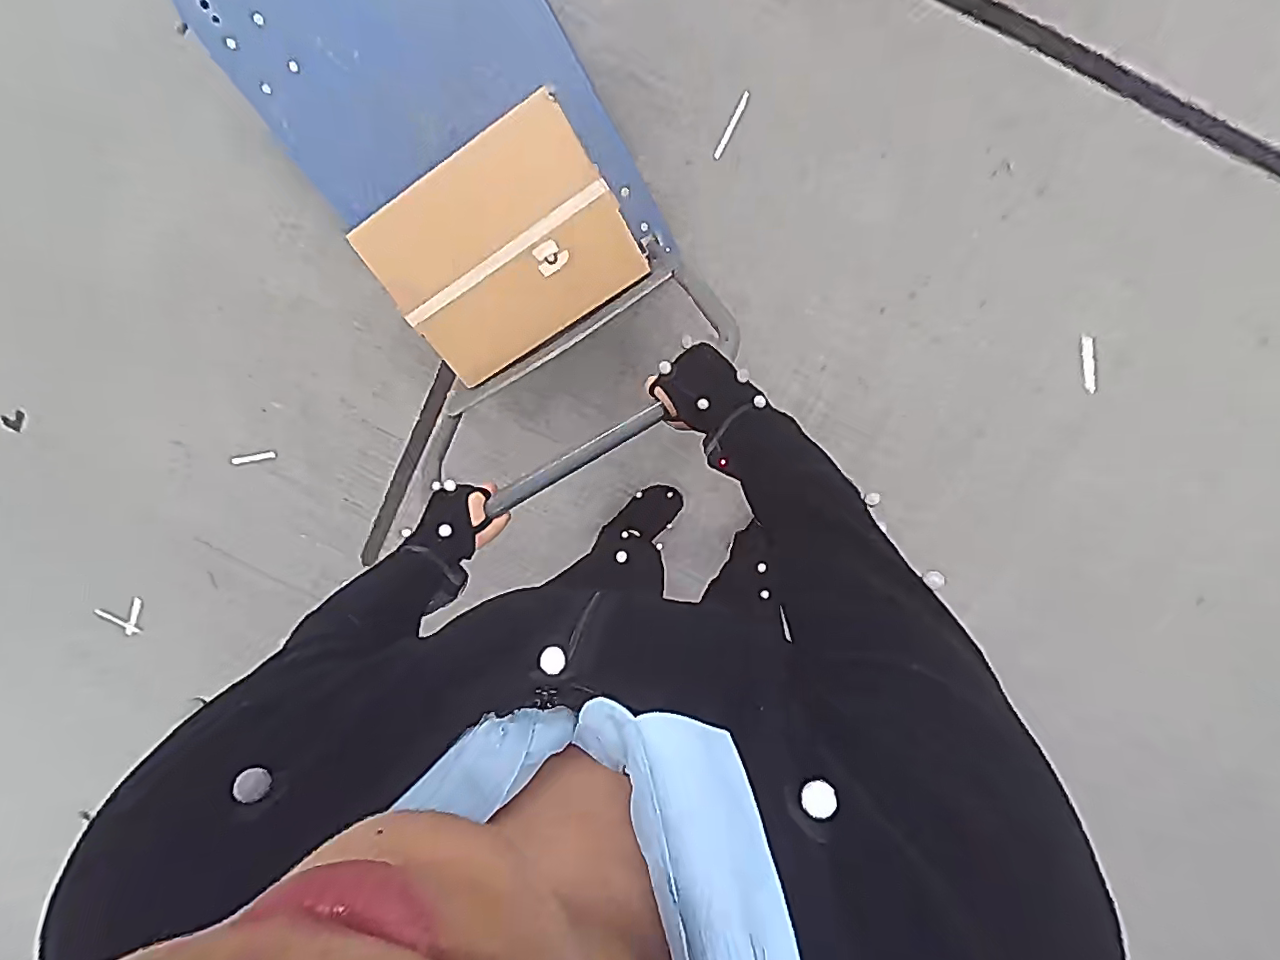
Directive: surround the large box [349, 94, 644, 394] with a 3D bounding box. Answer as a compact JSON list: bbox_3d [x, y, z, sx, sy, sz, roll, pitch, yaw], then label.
[{"bbox_3d":[-0.250,-0.436,1.044,0.408,0.320,0.320,-31,117,9],"label":"large box"}]
